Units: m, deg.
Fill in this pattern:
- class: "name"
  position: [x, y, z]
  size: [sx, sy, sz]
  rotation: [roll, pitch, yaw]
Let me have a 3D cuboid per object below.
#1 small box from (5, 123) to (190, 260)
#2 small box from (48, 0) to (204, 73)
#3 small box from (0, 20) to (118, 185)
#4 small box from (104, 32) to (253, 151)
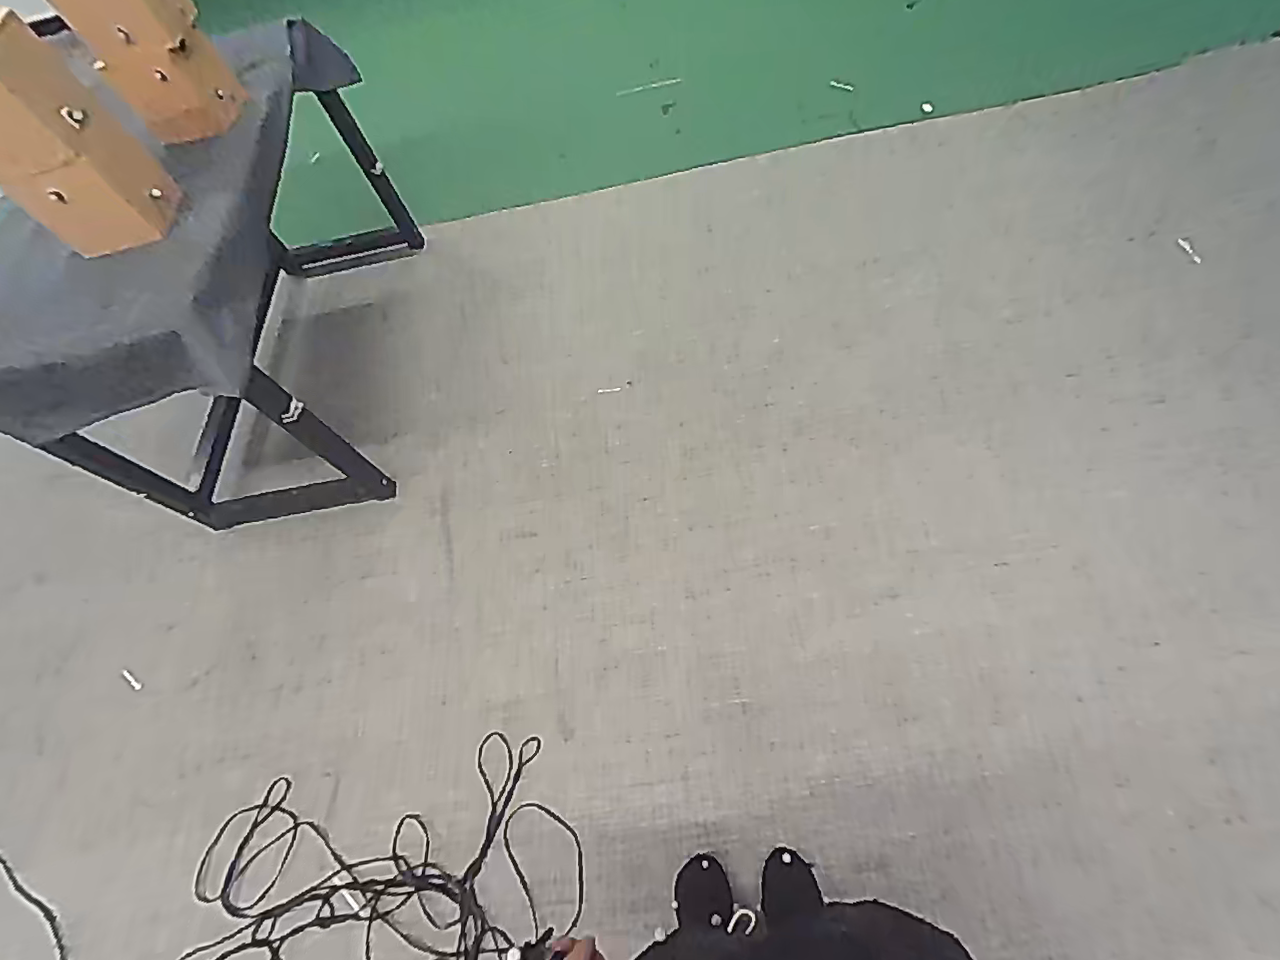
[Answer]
- class: "small box"
  position: [-1.072, -0.571, 1.087]
  size: [0.179, 0.176, 0.168]
  rotation: [-13, 61, 2]
- class: "small box"
  position: [-1.075, -0.997, 1.132]
  size: [0.179, 0.176, 0.168]
  rotation: [-10, 61, 3]
- class: "small box"
  position: [-1.097, -0.652, 0.948]
  size: [0.179, 0.176, 0.168]
  rotation: [-12, 62, 2]
- class: "small box"
  position: [-1.068, -0.905, 1.269]
  size: [0.179, 0.176, 0.168]
  rotation: [-7, 61, 6]
